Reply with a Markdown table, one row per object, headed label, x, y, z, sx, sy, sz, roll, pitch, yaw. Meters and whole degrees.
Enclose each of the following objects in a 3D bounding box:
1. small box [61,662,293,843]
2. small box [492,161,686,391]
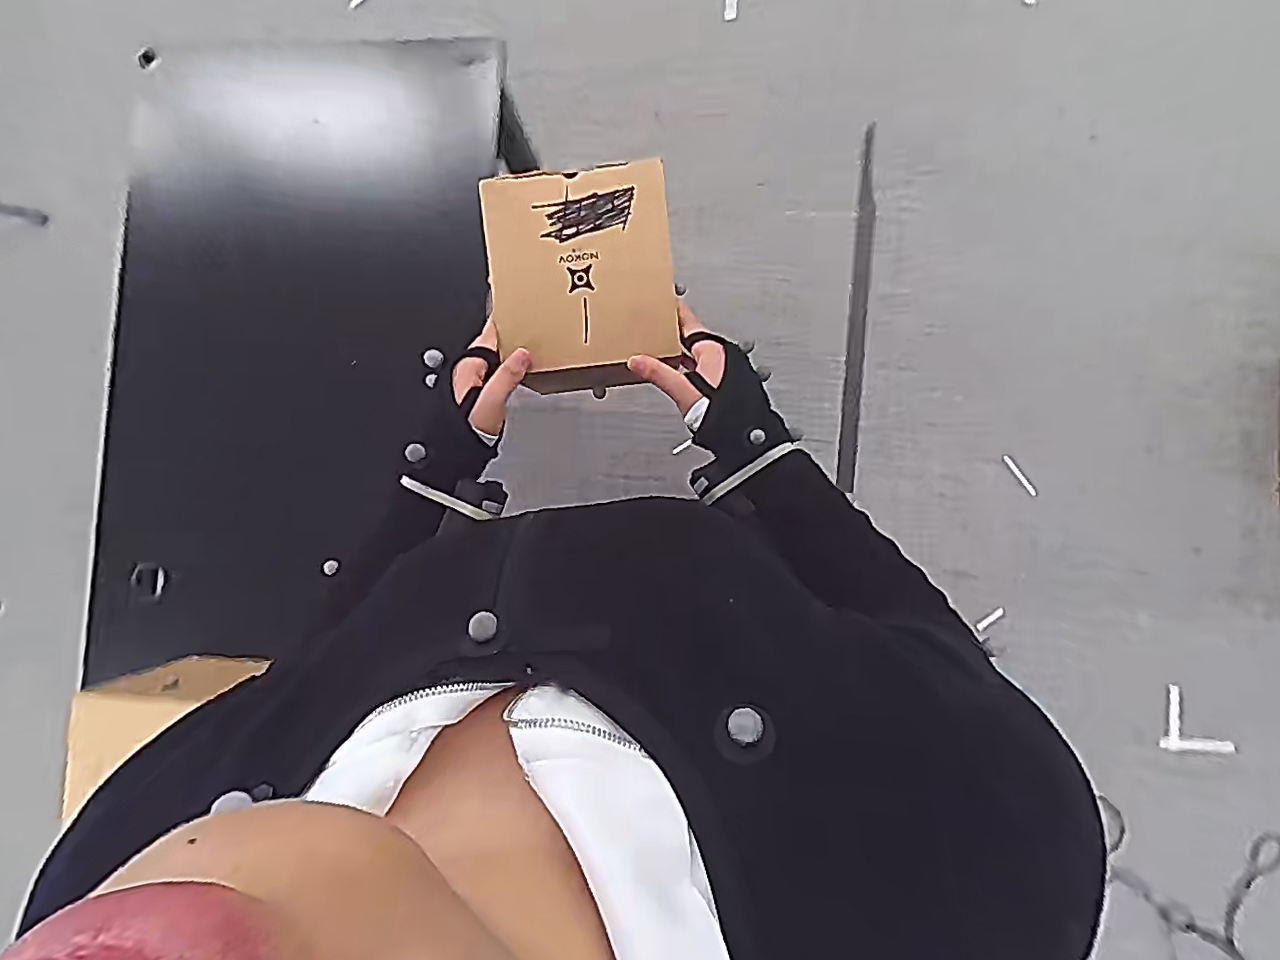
| label | x | y | z | sx | sy | sz | roll | pitch | yaw |
| --- | --- | --- | --- | --- | --- | --- | --- | --- | --- |
| small box | -0.610 | 0.355 | 0.735 | 0.179 | 0.176 | 0.168 | 1 | 86 | 5 |
| small box | -0.044 | -0.195 | 0.564 | 0.168 | 0.176 | 0.179 | -5 | 93 | 2 |
